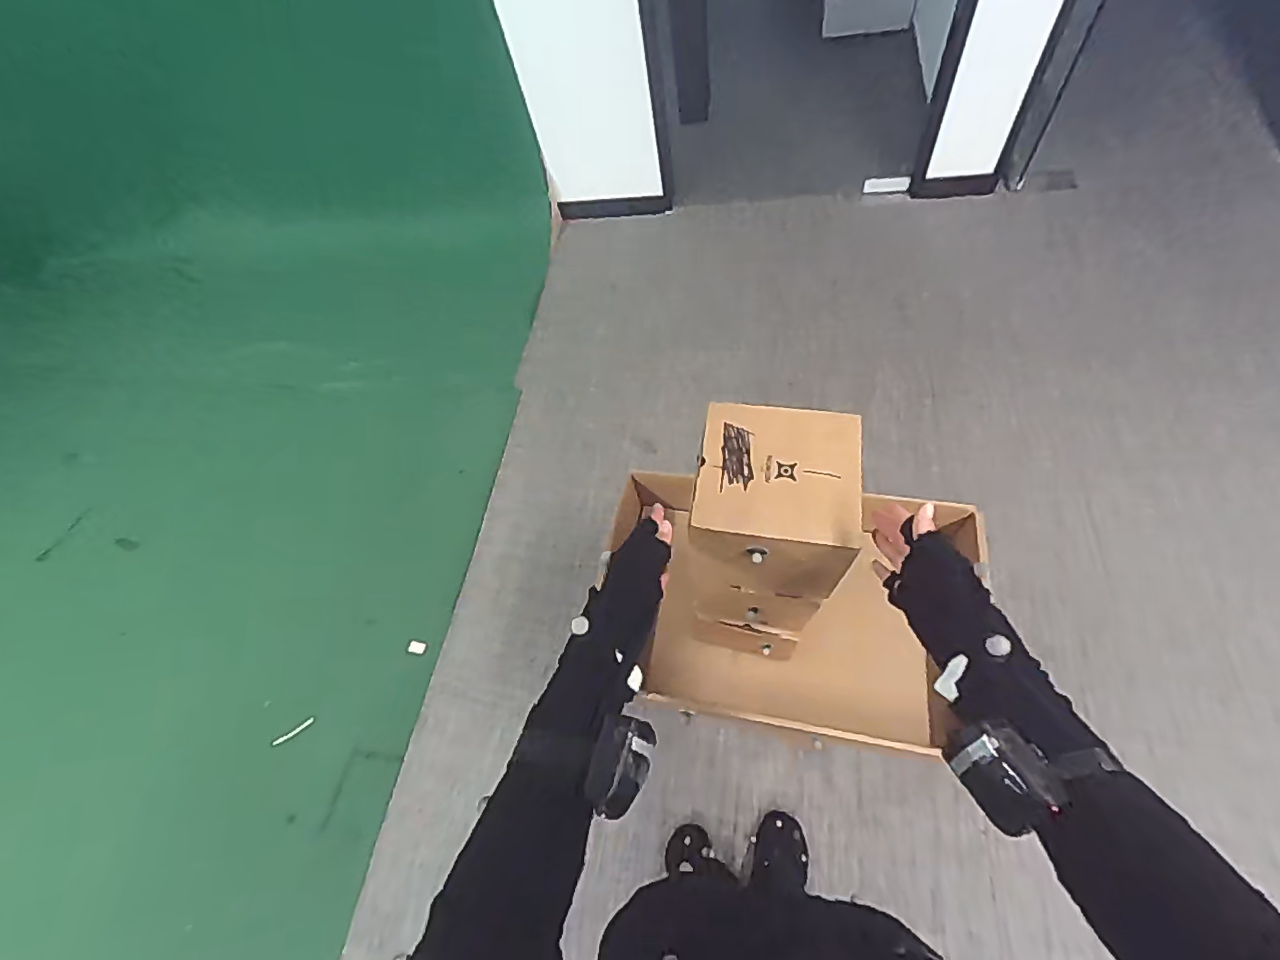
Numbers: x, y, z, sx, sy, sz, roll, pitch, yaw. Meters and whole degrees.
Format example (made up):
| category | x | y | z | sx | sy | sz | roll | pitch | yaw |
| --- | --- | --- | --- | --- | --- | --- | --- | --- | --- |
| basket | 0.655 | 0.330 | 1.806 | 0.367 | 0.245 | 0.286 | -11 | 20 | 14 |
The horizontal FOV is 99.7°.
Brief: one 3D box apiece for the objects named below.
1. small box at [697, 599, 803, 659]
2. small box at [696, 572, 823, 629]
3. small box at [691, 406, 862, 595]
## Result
| category | x | y | z | sx | sy | sz | roll | pitch | yaw |
| --- | --- | --- | --- | --- | --- | --- | --- | --- | --- |
| small box | 0.198 | 0.197 | 0.942 | 0.168 | 0.176 | 0.179 | 9 | 61 | 12 |
| small box | 0.182 | 0.109 | 0.805 | 0.168 | 0.176 | 0.179 | 9 | 63 | 12 |
| small box | 0.161 | 0.030 | 0.661 | 0.179 | 0.176 | 0.168 | 7 | 62 | 10 |
